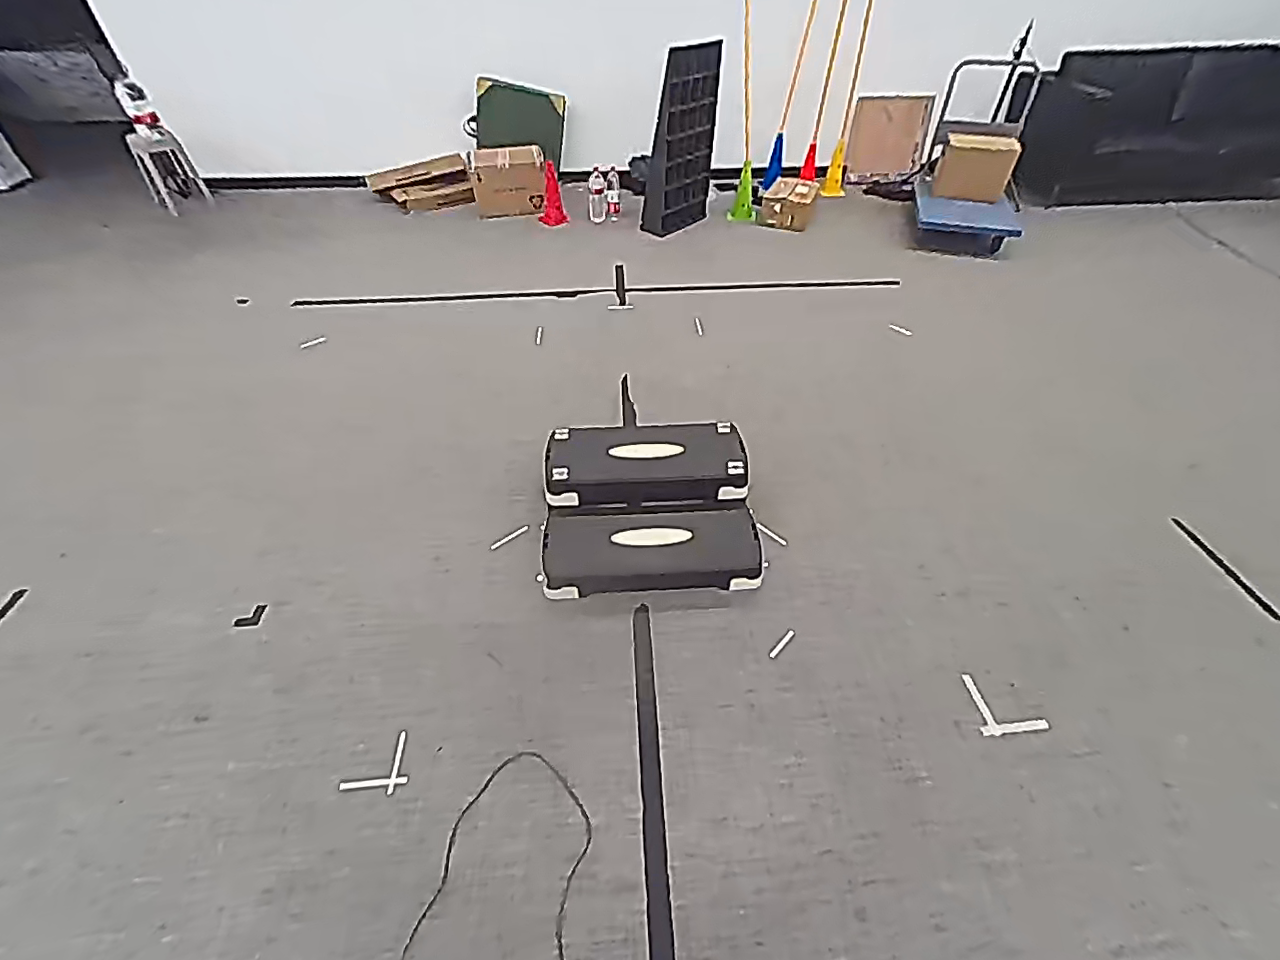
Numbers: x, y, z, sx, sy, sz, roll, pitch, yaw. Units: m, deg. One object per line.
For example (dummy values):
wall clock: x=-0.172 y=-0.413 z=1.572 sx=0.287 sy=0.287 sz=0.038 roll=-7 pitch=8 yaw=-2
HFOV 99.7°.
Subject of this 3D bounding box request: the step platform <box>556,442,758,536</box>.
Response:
step platform: x=0.057 y=0.025 z=1.861 sx=0.684 sy=0.204 sz=0.286 roll=1 pitch=43 yaw=0
